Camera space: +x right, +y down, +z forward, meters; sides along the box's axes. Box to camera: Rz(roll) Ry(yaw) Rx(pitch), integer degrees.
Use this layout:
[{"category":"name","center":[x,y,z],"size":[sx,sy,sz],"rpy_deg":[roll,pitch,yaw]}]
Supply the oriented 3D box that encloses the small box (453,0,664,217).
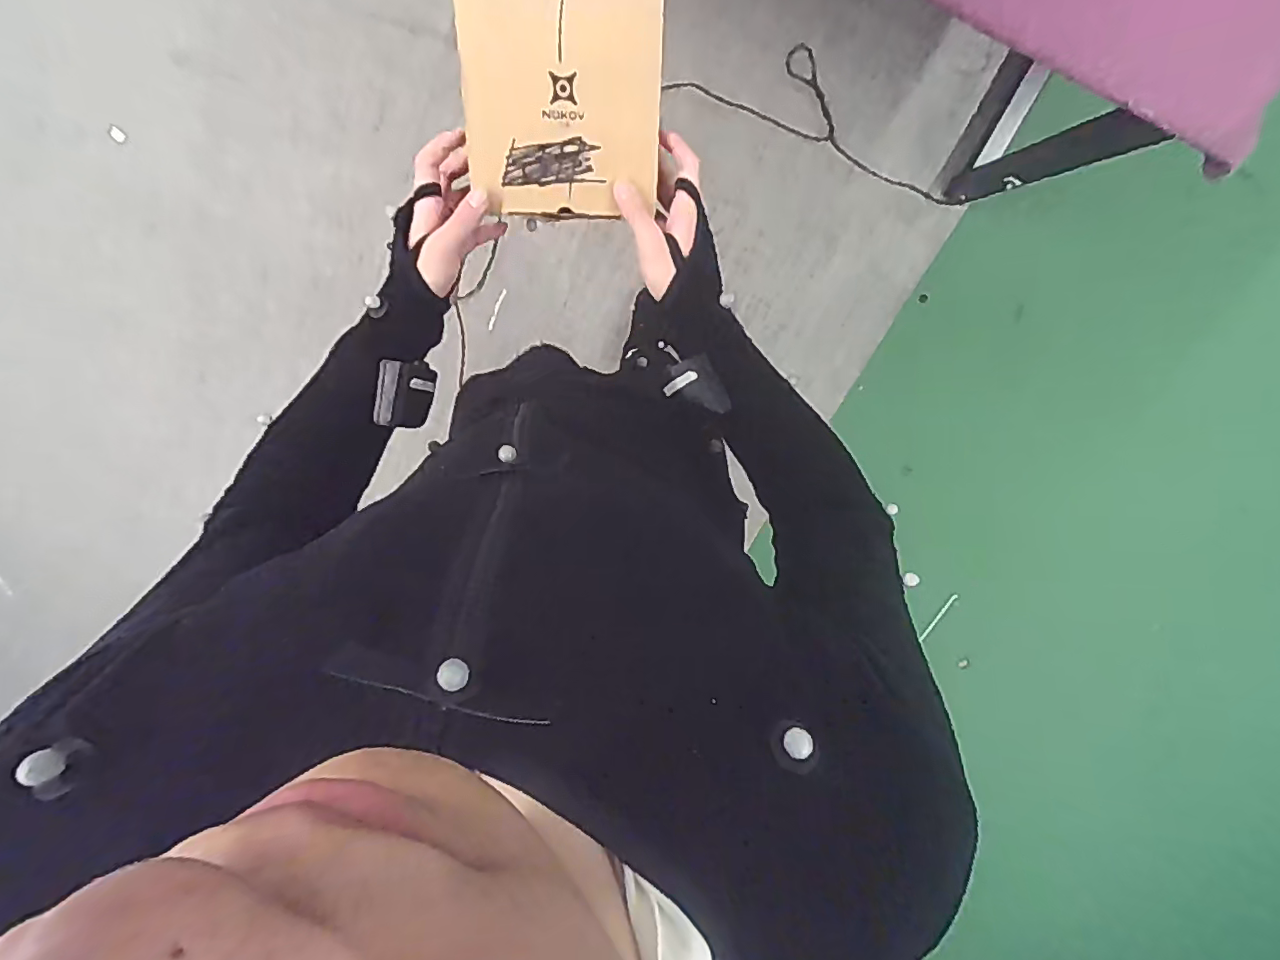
[{"category":"small box","center":[-0.068,-0.351,0.514],"size":[0.168,0.176,0.179],"rpy_deg":[1,114,-3]}]
